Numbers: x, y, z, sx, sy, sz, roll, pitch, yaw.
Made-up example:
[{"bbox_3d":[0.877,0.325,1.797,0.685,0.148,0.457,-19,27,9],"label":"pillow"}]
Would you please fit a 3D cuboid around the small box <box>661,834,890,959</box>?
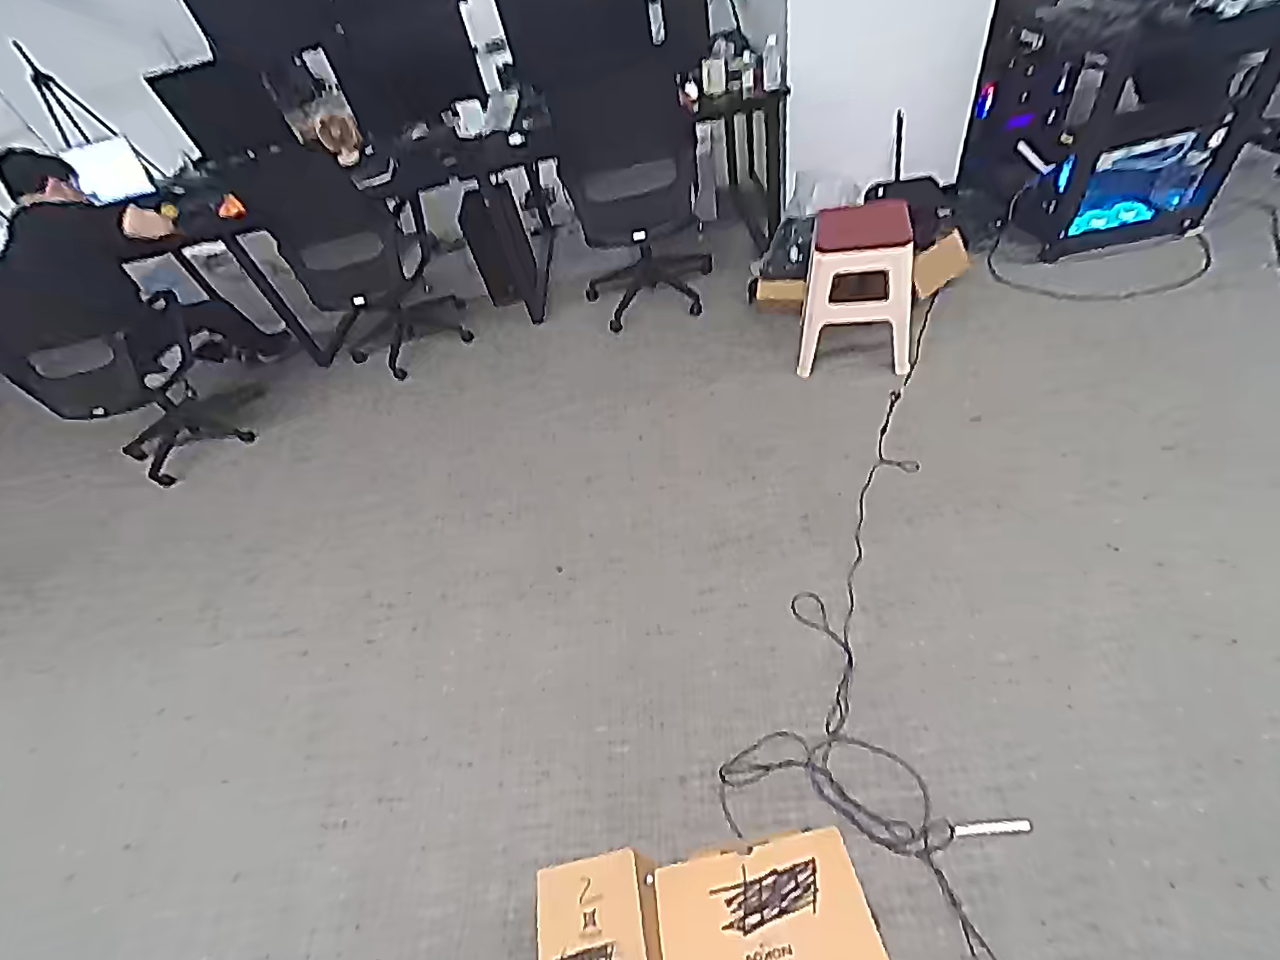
[{"bbox_3d":[0.121,0.429,0.425,0.168,0.176,0.179,-16,25,4],"label":"small box"}]
